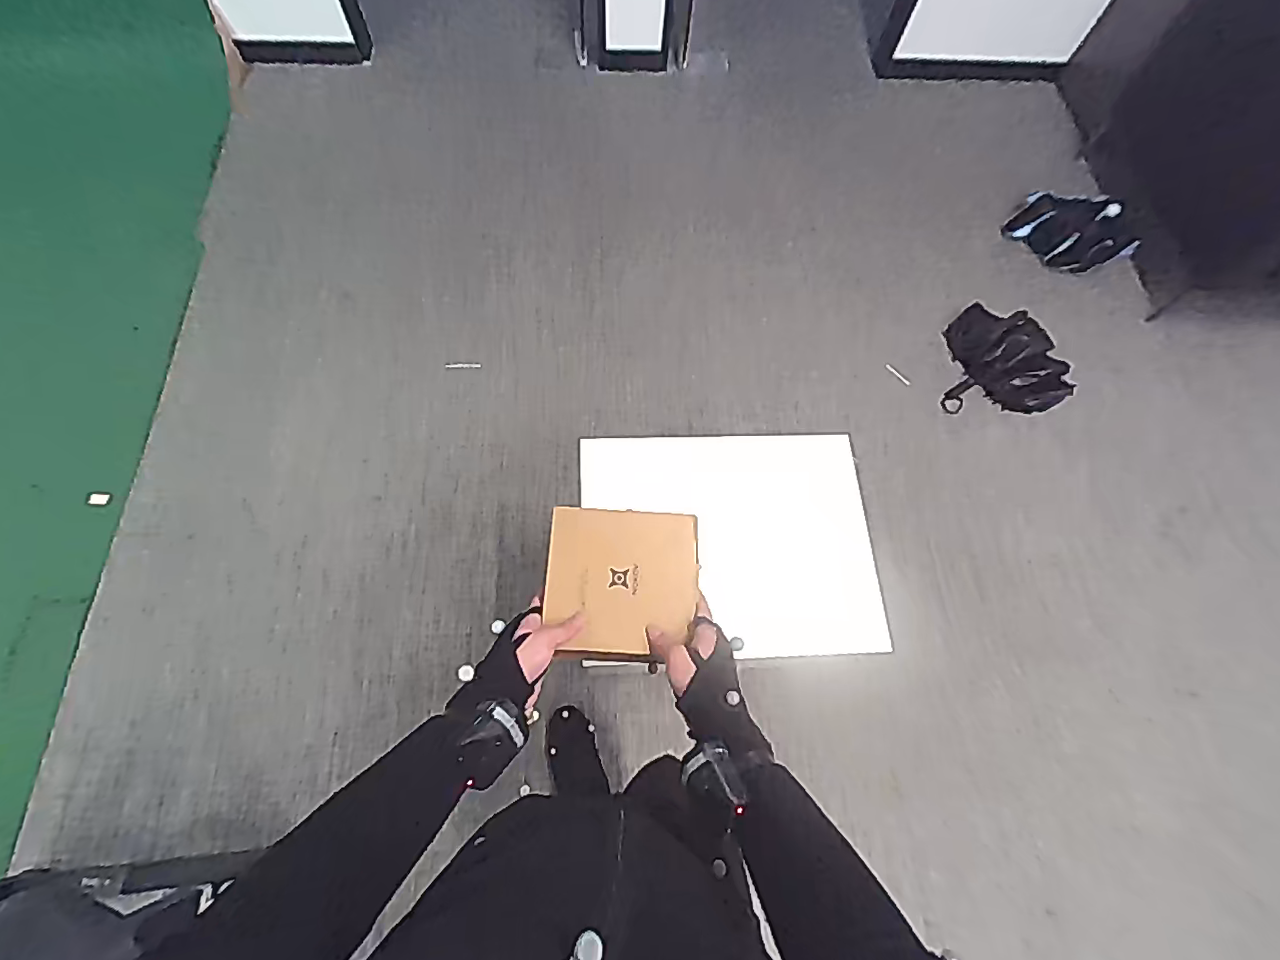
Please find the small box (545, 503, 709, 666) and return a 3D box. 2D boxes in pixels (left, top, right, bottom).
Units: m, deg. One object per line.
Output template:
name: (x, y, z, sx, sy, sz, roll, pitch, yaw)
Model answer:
small box: (-0.018, 0.138, 0.675, 0.179, 0.176, 0.168, 3, 66, -4)
